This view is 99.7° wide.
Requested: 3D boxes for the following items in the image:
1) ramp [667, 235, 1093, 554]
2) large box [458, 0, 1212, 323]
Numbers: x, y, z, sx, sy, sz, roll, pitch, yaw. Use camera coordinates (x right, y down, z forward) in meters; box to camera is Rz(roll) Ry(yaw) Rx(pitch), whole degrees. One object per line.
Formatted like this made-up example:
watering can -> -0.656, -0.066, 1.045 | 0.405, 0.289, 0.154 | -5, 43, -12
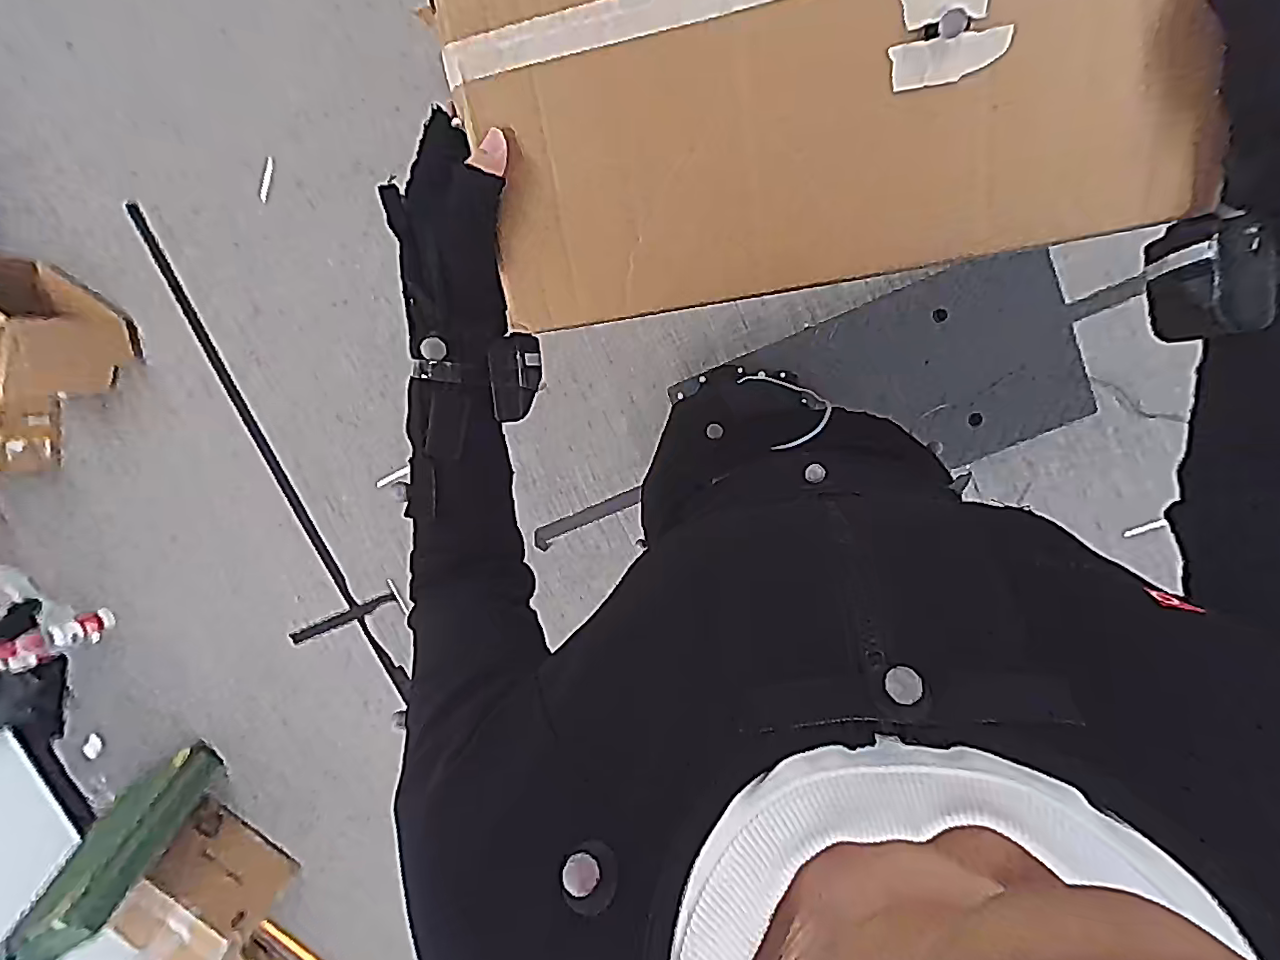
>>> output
ramp -> 0.616, -0.209, 1.412 | 0.991, 0.206, 0.509 | -23, 95, 15
large box -> 0.108, -0.323, 0.437 | 0.408, 0.320, 0.320 | -7, 108, 10
